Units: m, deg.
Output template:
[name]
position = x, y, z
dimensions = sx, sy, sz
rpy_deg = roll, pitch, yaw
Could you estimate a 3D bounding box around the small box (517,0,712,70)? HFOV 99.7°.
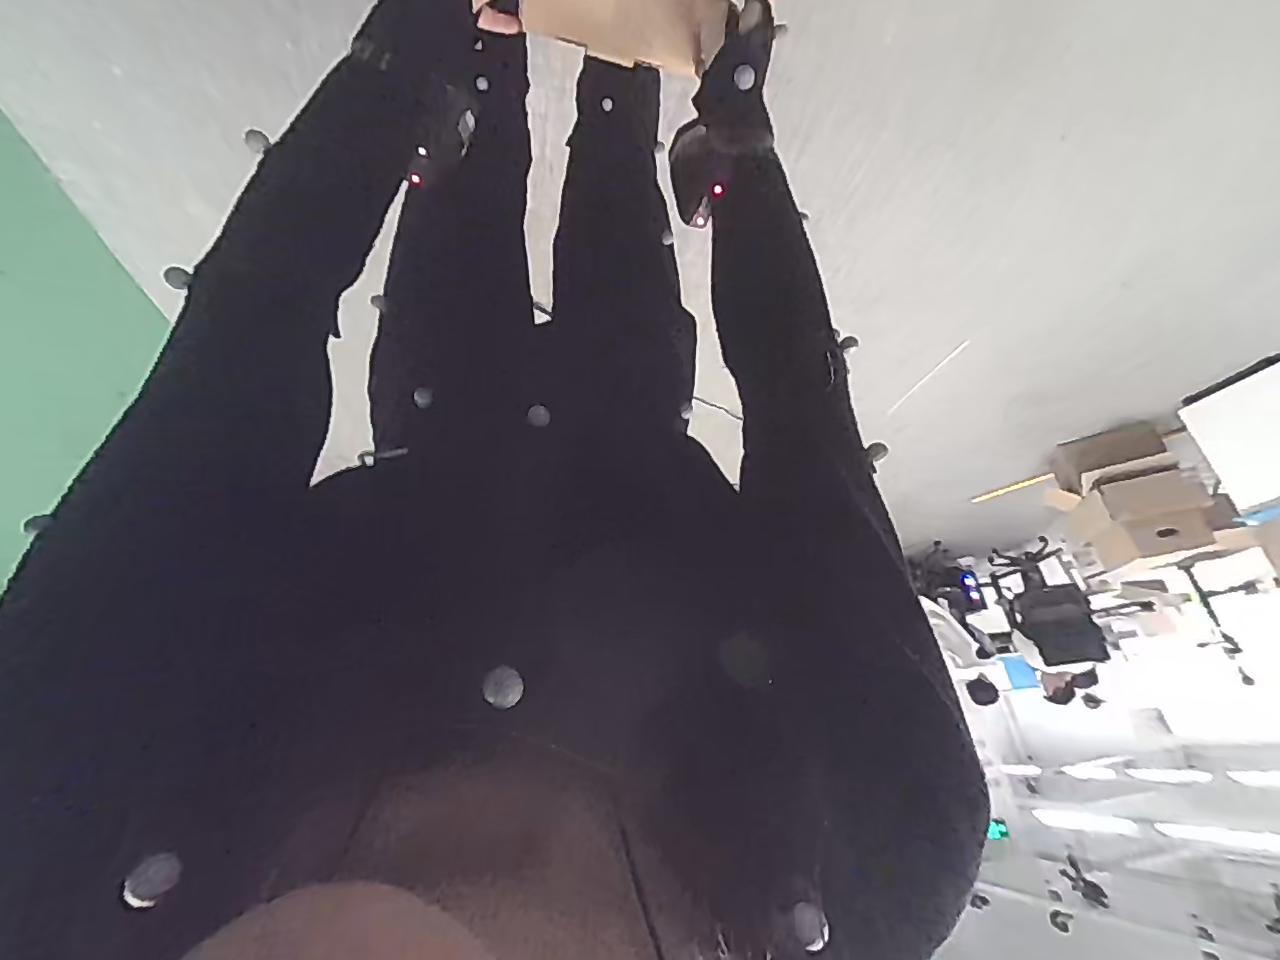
[small box]
position = -0.016, -0.509, 0.471
dimensions = 0.168, 0.176, 0.179
rpy_deg = 2, 144, -17
